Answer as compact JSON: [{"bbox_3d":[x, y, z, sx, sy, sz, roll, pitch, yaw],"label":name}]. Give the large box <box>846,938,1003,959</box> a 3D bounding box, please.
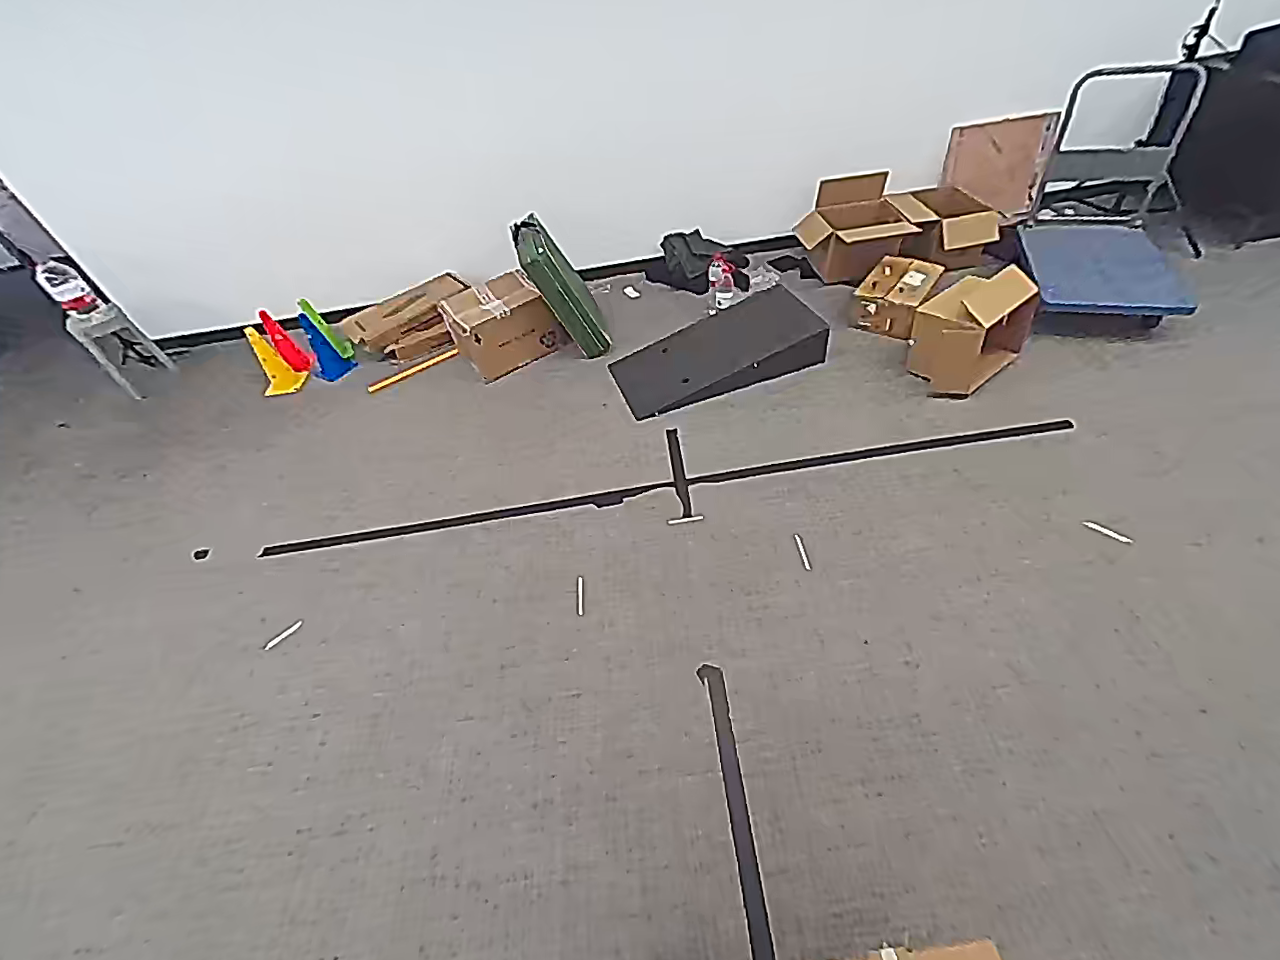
[{"bbox_3d":[0.444,0.968,0.804,0.320,0.320,0.408,-14,47,6],"label":"large box"}]
